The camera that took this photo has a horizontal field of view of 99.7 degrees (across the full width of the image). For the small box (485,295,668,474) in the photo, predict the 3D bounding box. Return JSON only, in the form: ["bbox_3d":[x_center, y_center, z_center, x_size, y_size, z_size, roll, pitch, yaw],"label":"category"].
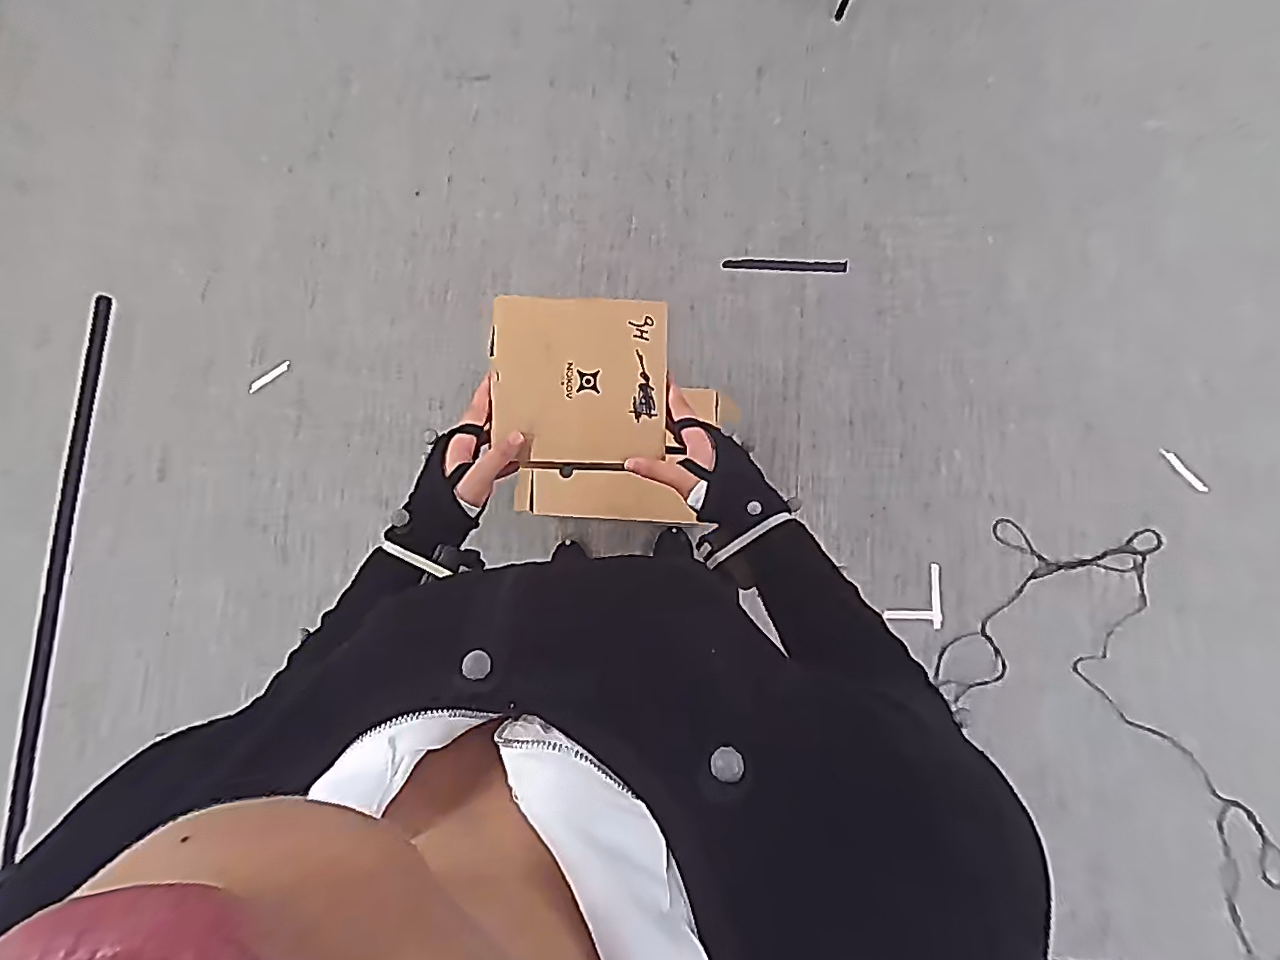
[{"bbox_3d":[-0.064,-0.094,0.606,0.179,0.176,0.168,1,88,-3],"label":"small box"}]
